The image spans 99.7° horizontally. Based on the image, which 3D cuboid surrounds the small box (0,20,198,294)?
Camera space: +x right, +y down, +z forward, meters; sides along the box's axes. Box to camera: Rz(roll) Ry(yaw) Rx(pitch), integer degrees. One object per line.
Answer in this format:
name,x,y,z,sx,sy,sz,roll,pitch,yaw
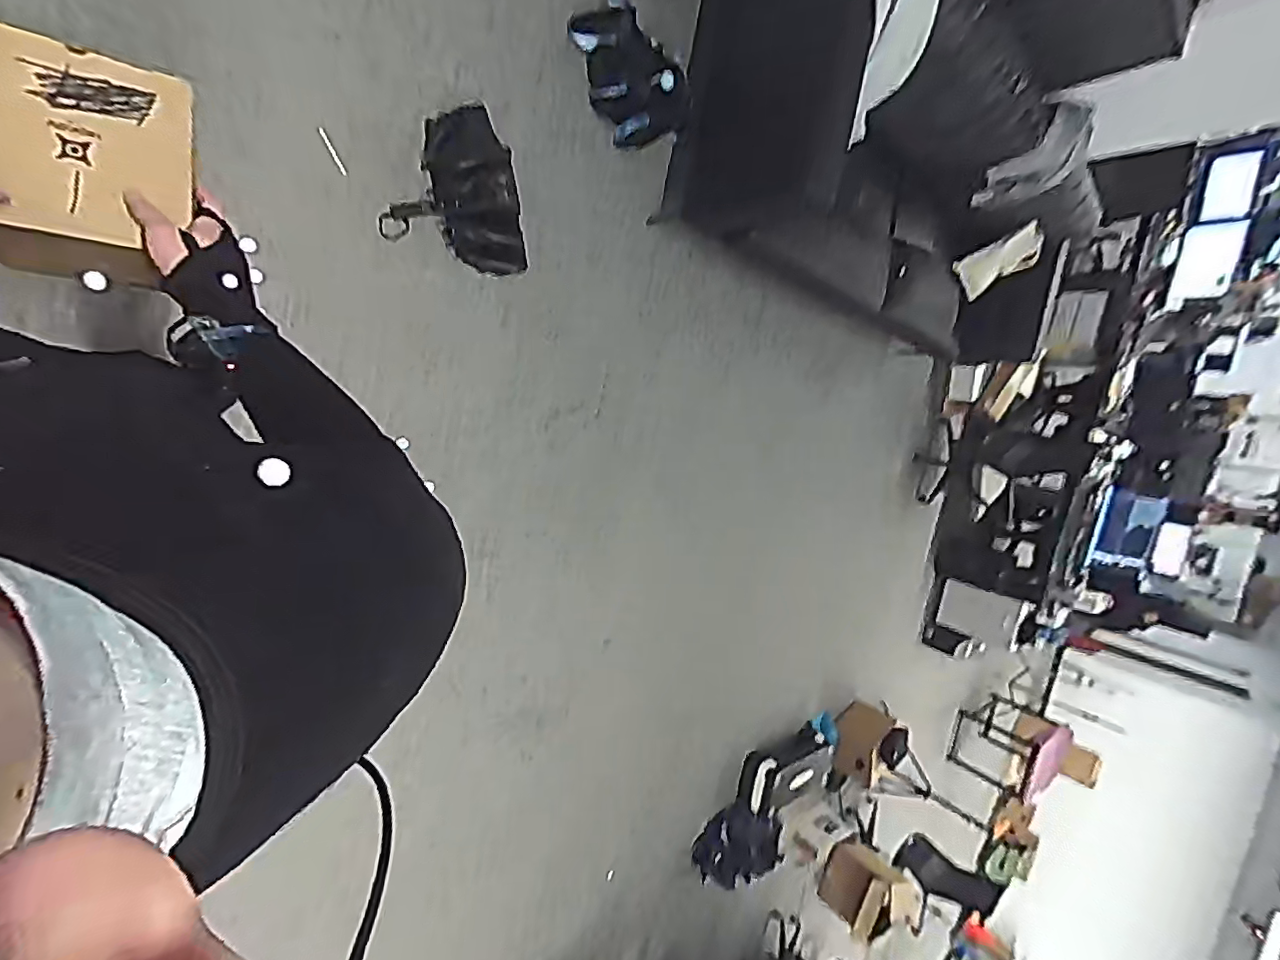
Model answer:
small box,-0.559,-0.306,0.545,0.168,0.176,0.179,-2,94,-36
